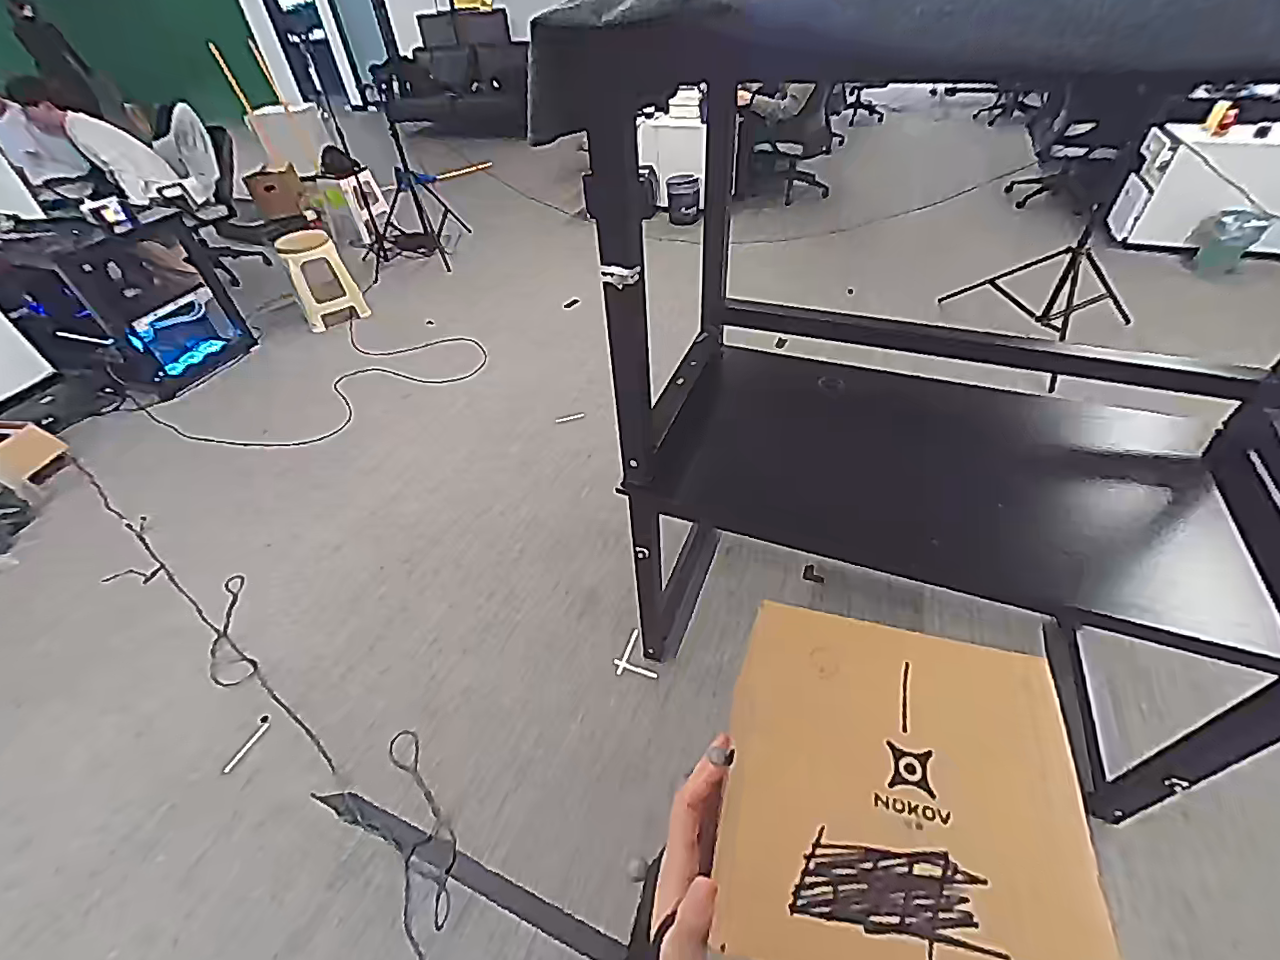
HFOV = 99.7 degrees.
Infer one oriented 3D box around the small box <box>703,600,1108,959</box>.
[{"bbox_3d":[0.135,0.205,0.336,0.168,0.176,0.179,10,51,10],"label":"small box"}]
